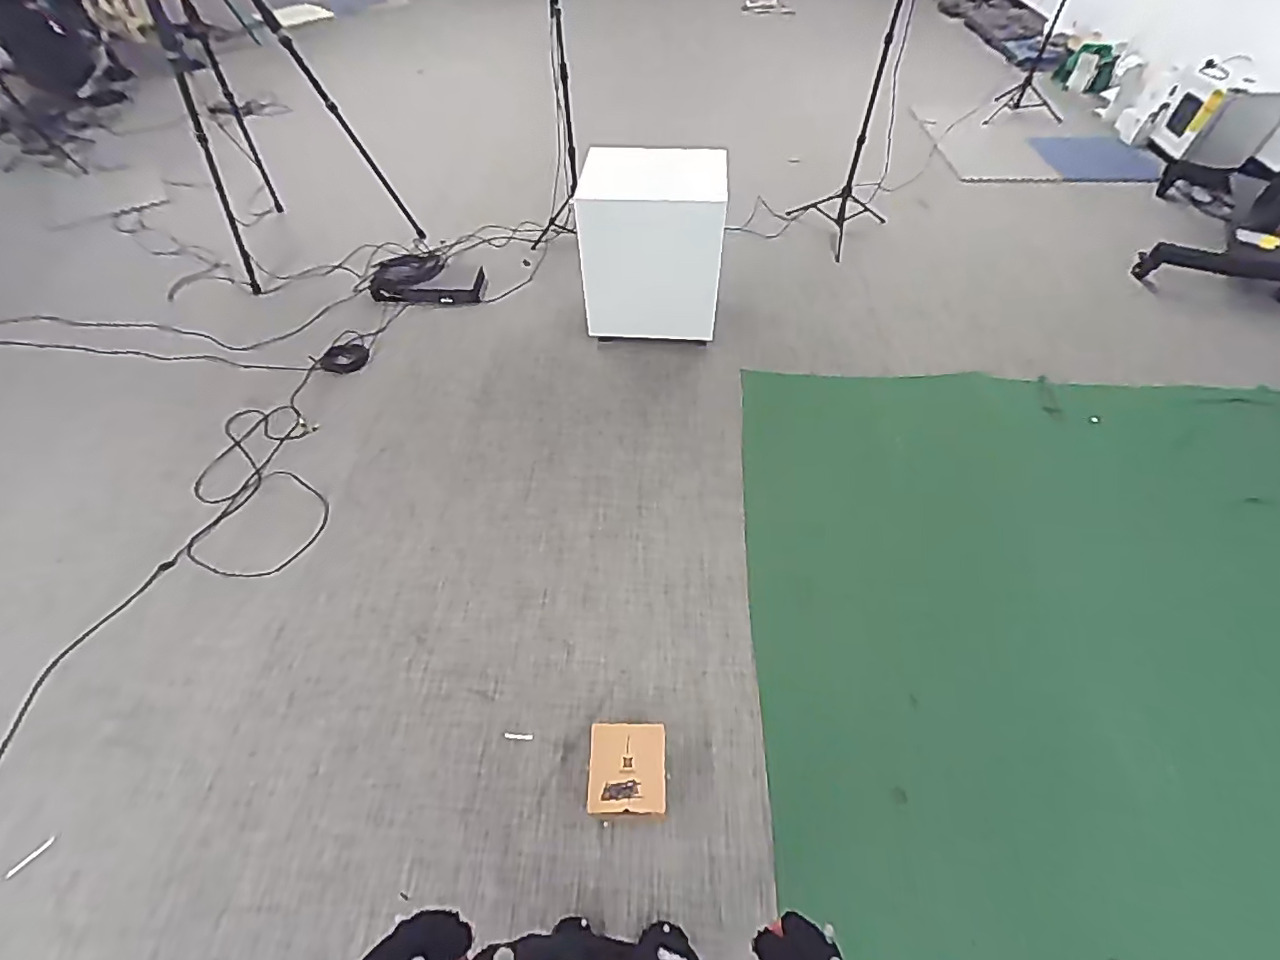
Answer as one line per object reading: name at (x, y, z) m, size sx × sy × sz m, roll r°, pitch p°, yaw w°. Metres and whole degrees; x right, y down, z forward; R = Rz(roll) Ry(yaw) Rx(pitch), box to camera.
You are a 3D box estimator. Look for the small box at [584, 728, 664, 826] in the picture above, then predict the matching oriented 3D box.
small box at (-0.029, 0.676, 1.226) m, size 0.168 × 0.176 × 0.179 m, roll 0°, pitch 52°, yaw 1°
